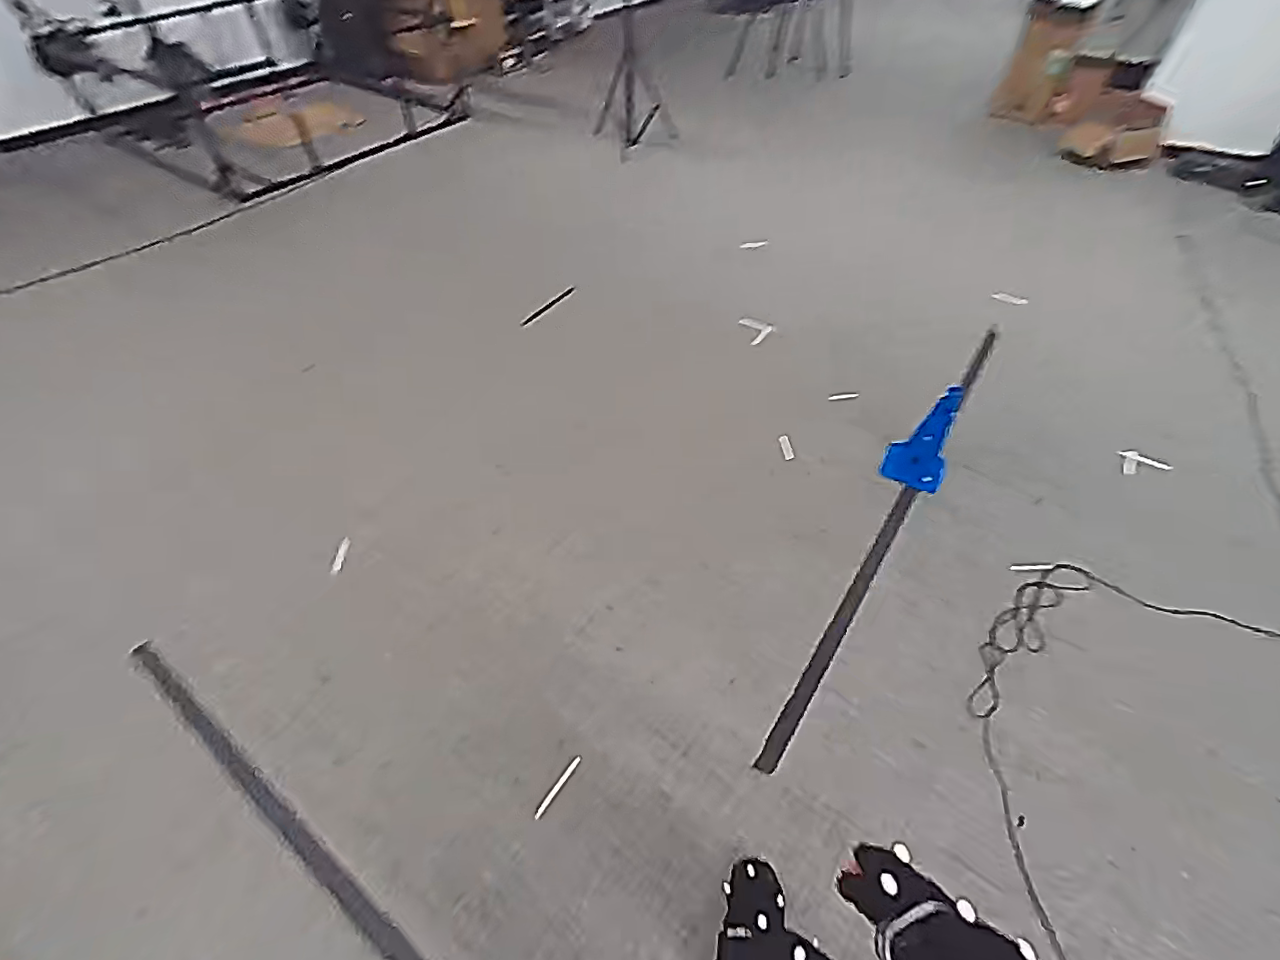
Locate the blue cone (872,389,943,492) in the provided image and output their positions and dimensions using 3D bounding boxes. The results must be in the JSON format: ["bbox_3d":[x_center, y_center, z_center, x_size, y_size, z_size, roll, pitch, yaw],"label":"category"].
[{"bbox_3d":[0.955,-0.151,1.847,0.192,0.380,0.193,24,53,21],"label":"blue cone"}]
